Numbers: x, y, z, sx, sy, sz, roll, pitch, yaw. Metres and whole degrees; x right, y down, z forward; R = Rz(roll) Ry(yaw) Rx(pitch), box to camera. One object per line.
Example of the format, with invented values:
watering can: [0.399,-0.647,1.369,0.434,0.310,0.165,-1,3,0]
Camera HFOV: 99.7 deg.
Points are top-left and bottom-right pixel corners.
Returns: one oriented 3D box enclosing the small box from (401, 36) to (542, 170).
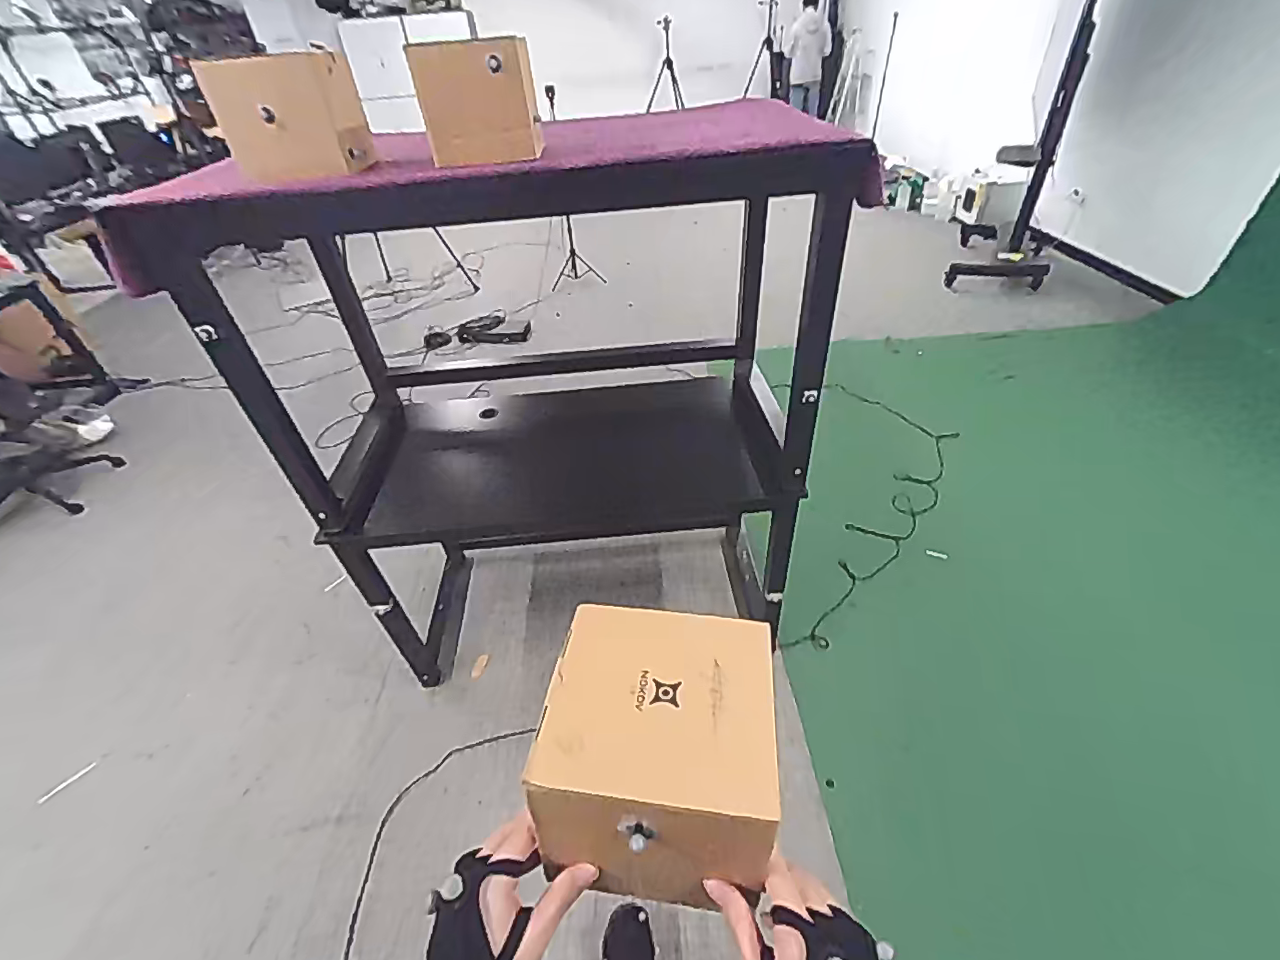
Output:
small box: [-0.274,-0.640,0.923,0.179,0.176,0.168,-5,39,-1]

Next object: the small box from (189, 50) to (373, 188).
small box: [-0.581,-0.607,0.910,0.179,0.176,0.168,-7,40,-2]

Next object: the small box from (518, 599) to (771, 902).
small box: [0.015,0.228,0.468,0.179,0.176,0.168,4,35,8]
